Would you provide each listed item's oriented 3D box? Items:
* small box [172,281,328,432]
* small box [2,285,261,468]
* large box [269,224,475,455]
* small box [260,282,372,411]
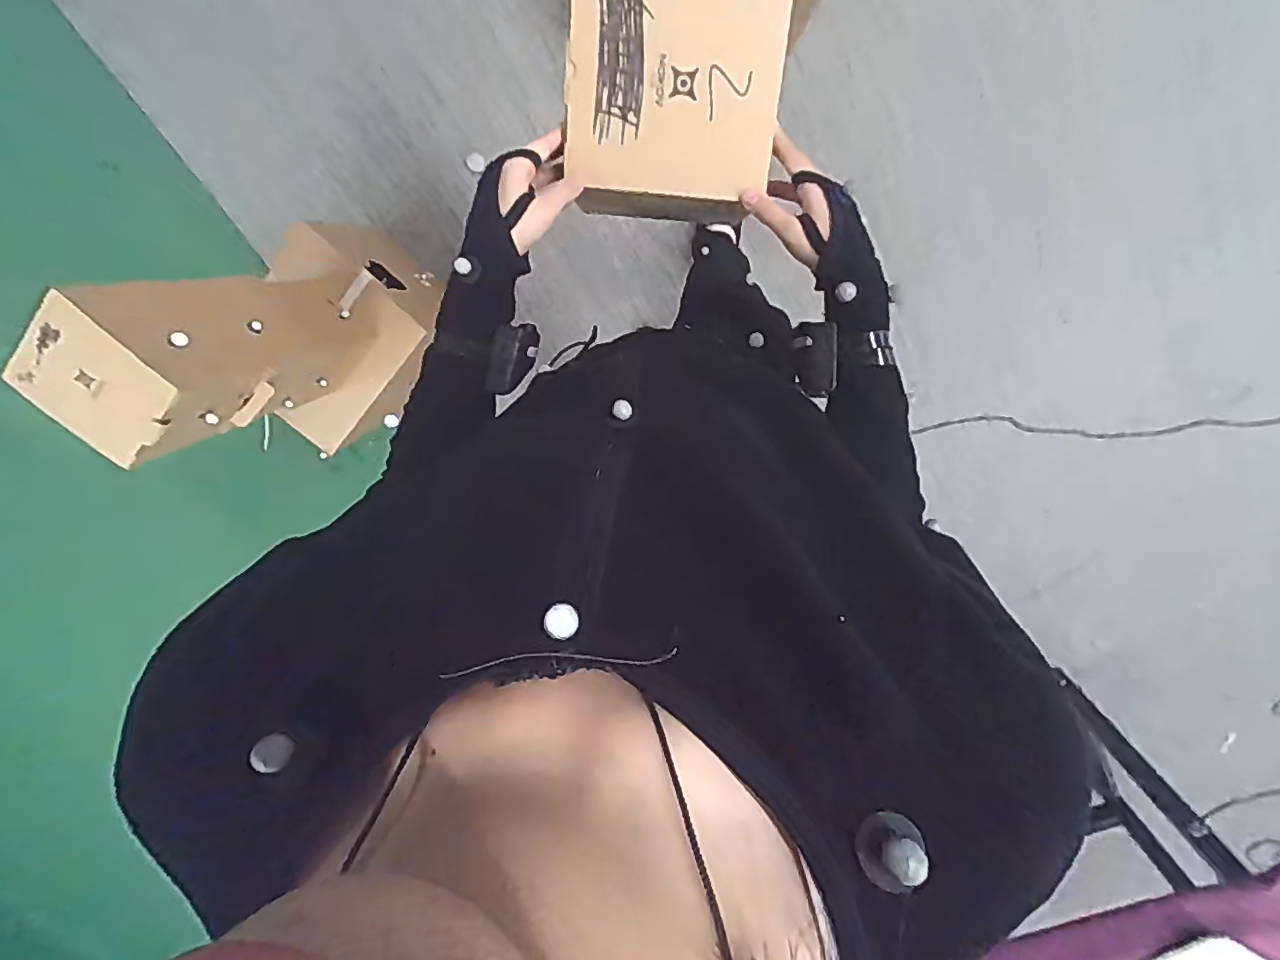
[{"bbox_3d":[-0.679,-0.217,0.913,0.168,0.176,0.179,-38,106,17],"label":"small box"},{"bbox_3d":[-0.693,-0.154,0.761,0.168,0.176,0.179,-39,107,17],"label":"small box"},{"bbox_3d":[-0.677,-0.342,1.303,0.320,0.320,0.408,43,110,-11],"label":"large box"},{"bbox_3d":[-0.674,-0.269,1.068,0.179,0.176,0.168,-40,106,17],"label":"small box"}]
